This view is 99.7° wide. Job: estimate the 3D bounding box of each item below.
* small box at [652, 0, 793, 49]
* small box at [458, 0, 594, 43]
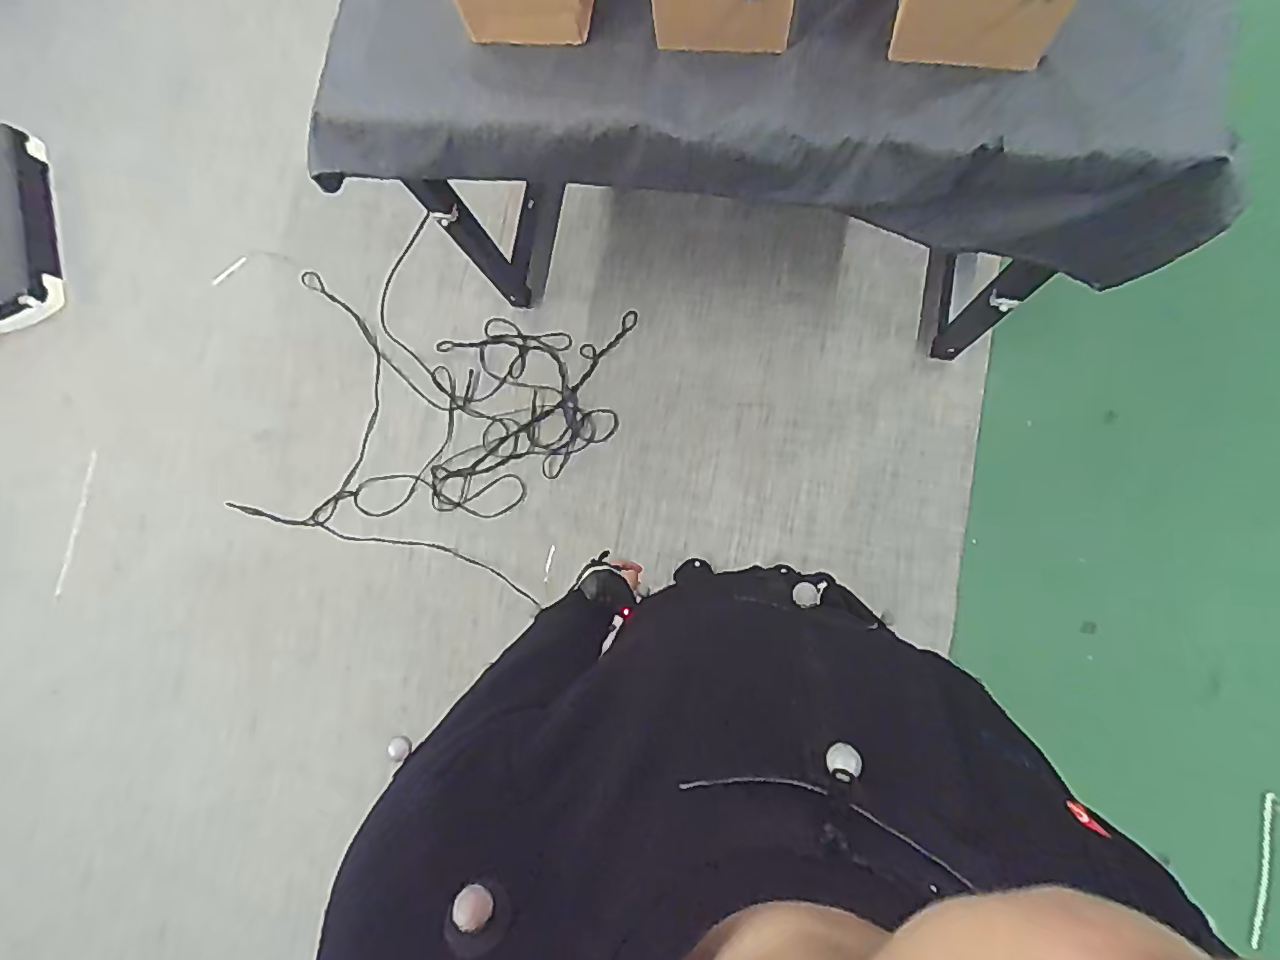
[{"bbox_3d":[0.110,-0.671,0.661,0.179,0.176,0.168,9,83,11],"label":"small box"},{"bbox_3d":[-0.161,-0.721,0.711,0.179,0.176,0.168,8,84,10],"label":"small box"}]
